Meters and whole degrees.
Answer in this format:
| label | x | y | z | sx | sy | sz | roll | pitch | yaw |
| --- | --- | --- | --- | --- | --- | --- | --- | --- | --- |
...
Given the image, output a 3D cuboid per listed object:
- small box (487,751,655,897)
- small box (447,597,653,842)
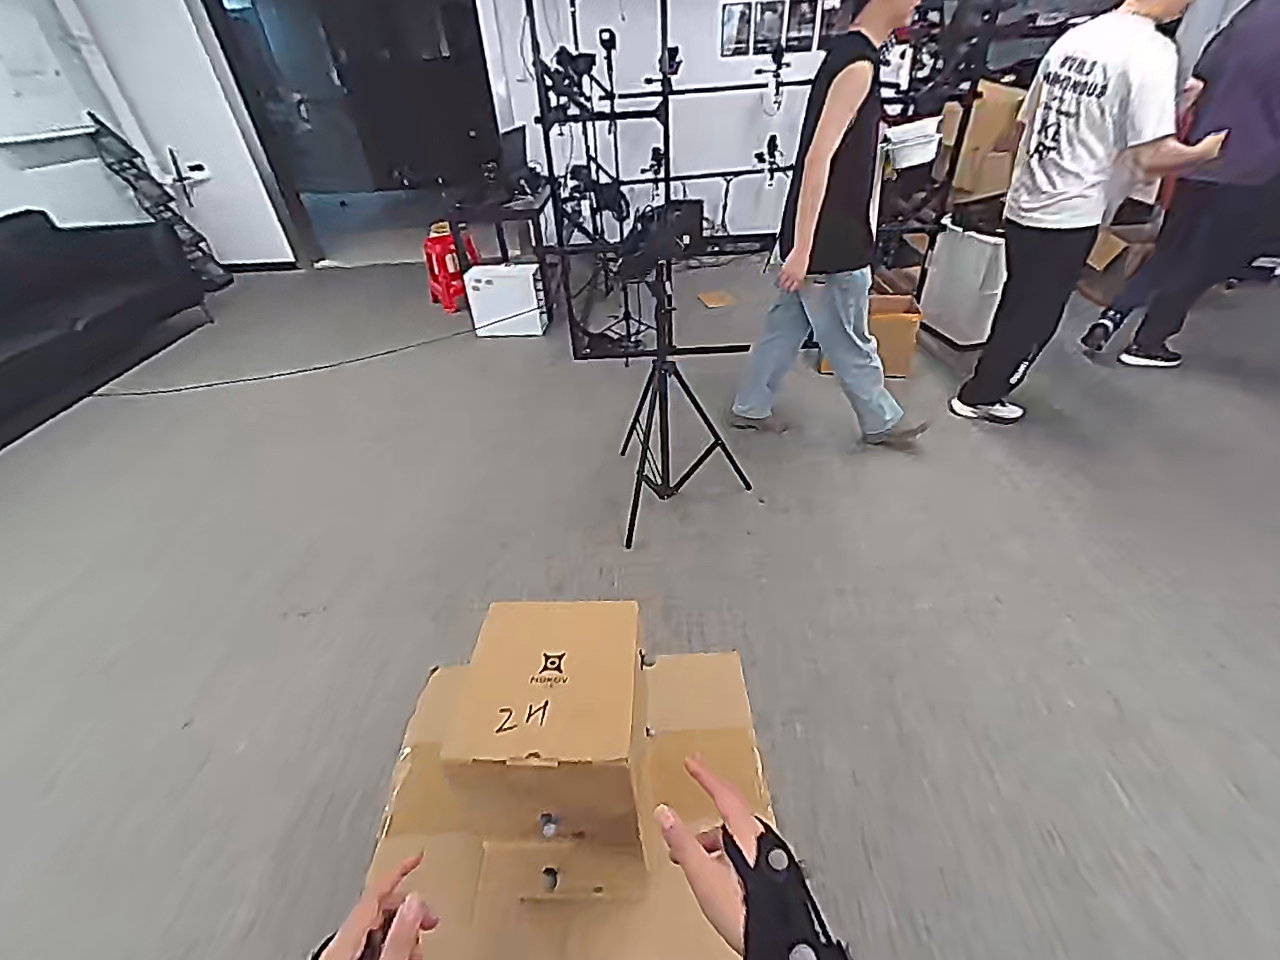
| label | x | y | z | sx | sy | sz | roll | pitch | yaw |
| --- | --- | --- | --- | --- | --- | --- | --- | --- | --- |
| small box | -0.068 | 0.379 | 0.656 | 0.168 | 0.176 | 0.179 | -2 | 36 | 2 |
| small box | -0.075 | 0.243 | 0.563 | 0.168 | 0.176 | 0.179 | -2 | 37 | 4 |
